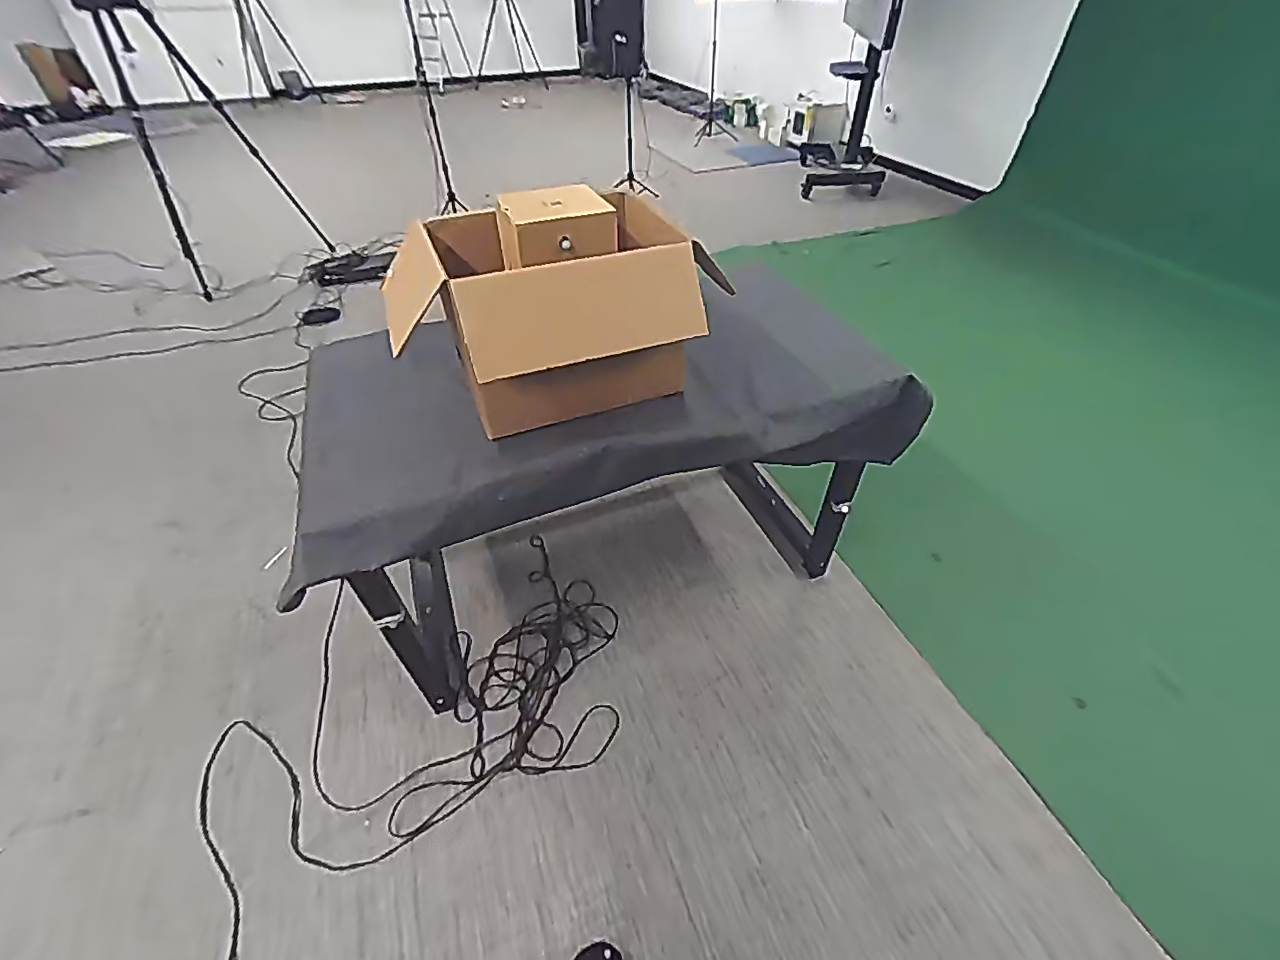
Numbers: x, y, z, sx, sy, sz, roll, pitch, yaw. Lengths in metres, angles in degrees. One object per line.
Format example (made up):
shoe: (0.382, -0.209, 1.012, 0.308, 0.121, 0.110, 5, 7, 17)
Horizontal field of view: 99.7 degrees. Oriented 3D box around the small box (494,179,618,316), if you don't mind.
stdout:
small box: (-0.148, -0.419, 0.974, 0.179, 0.176, 0.168, -17, 46, -16)
